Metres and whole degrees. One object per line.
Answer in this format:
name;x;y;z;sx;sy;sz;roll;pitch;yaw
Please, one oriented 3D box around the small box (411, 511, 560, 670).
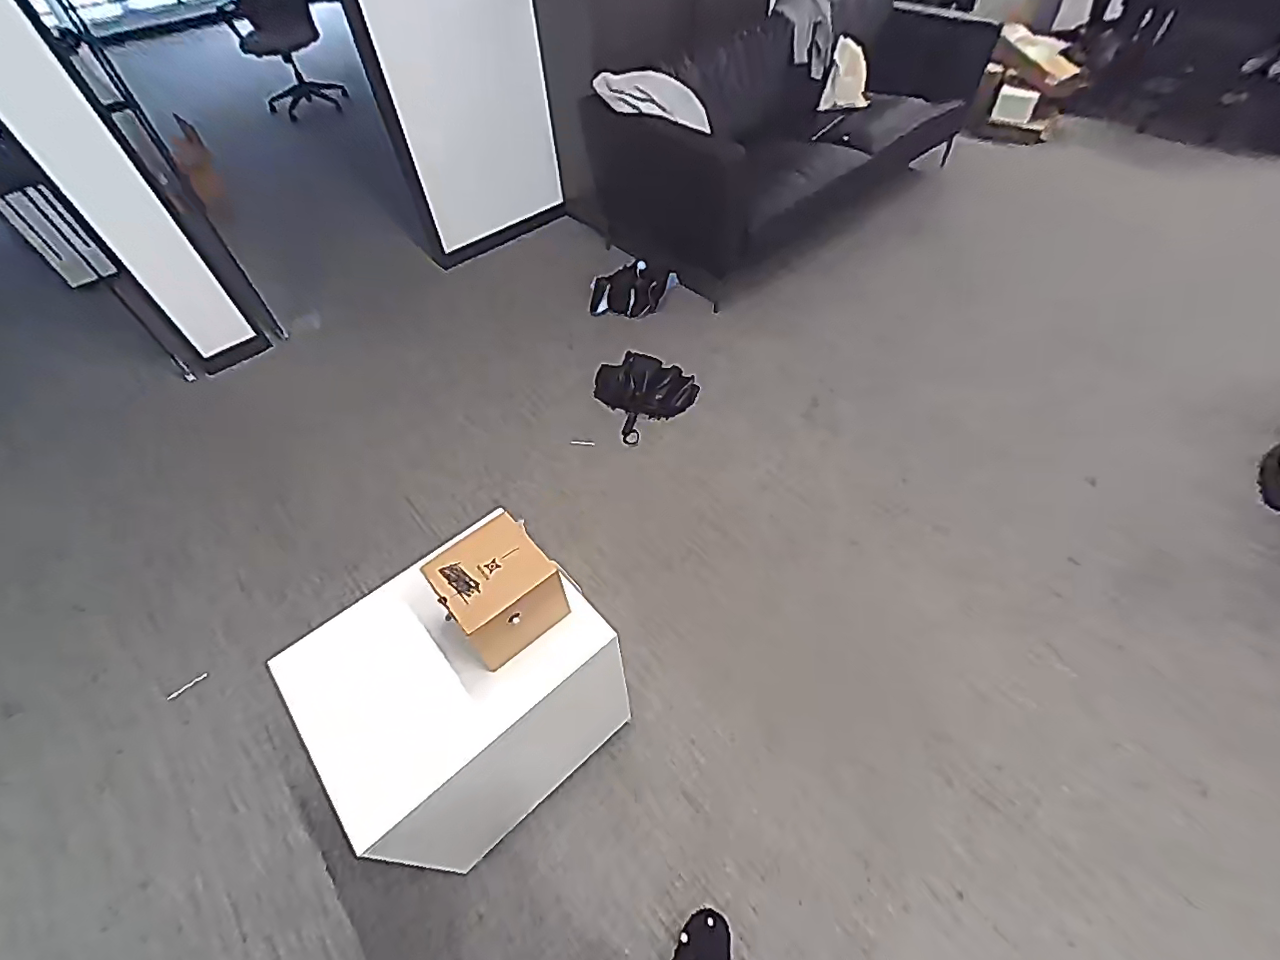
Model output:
small box;-0.258;0.195;0.938;0.179;0.176;0.168;-35;59;-26
